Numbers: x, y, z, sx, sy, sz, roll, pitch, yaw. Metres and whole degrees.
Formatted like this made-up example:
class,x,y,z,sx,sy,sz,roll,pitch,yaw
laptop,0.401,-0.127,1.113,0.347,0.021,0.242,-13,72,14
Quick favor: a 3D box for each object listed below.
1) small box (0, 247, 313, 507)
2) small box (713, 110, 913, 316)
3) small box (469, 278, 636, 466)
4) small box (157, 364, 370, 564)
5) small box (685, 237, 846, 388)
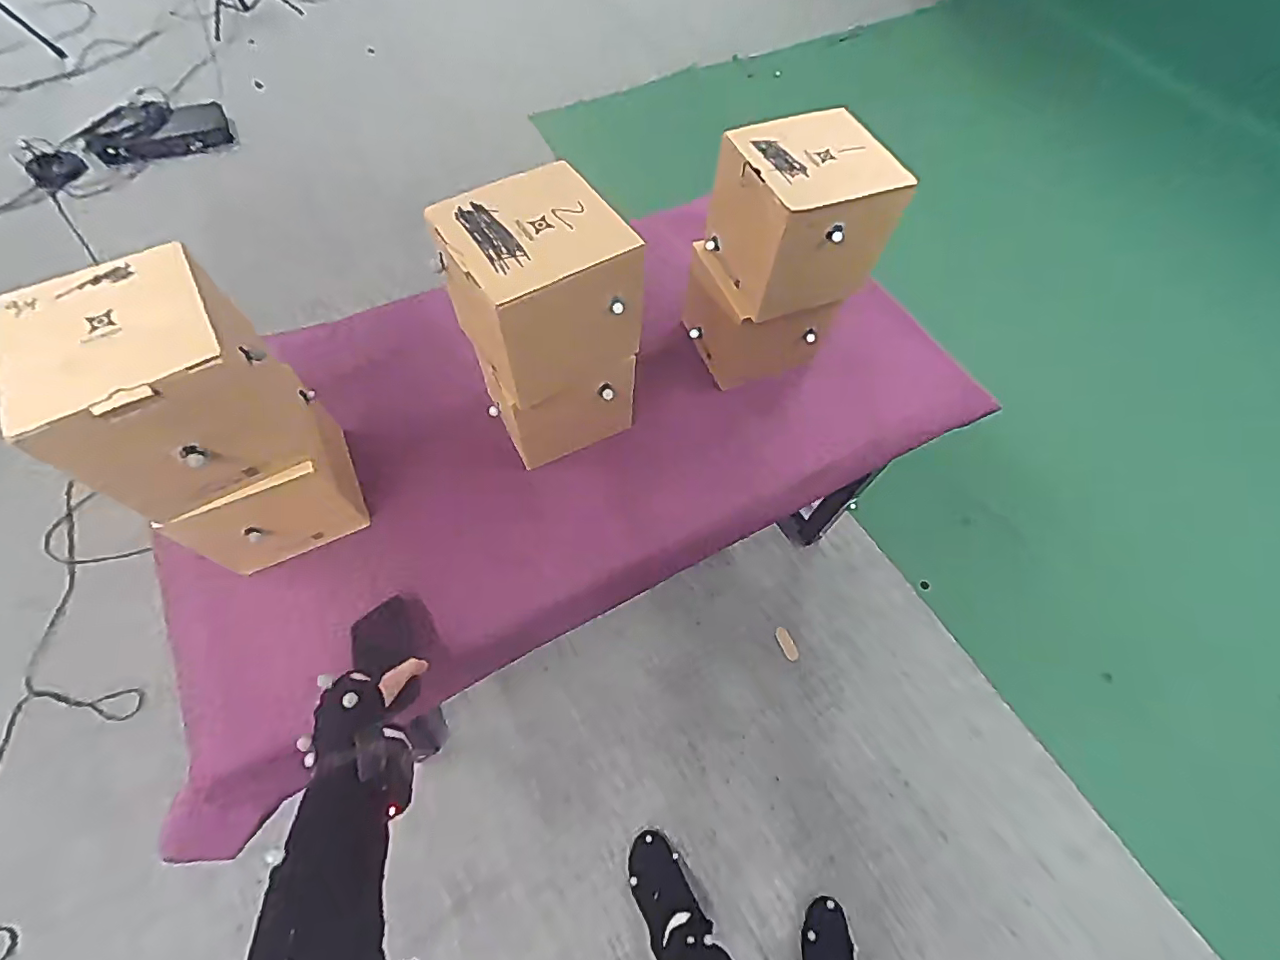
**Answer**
class,x,y,z,sx,sy,sz,roll,pitch,yaw
small box,-0.473,-0.093,0.552,0.168,0.176,0.179,-29,68,-17
small box,0.207,-0.343,0.712,0.179,0.176,0.168,-19,64,-12
small box,-0.120,-0.150,0.781,0.179,0.176,0.168,-24,66,-14
small box,-0.475,-0.009,0.694,0.168,0.176,0.179,-24,65,-14
small box,0.186,-0.275,0.860,0.179,0.176,0.168,-19,64,-11
